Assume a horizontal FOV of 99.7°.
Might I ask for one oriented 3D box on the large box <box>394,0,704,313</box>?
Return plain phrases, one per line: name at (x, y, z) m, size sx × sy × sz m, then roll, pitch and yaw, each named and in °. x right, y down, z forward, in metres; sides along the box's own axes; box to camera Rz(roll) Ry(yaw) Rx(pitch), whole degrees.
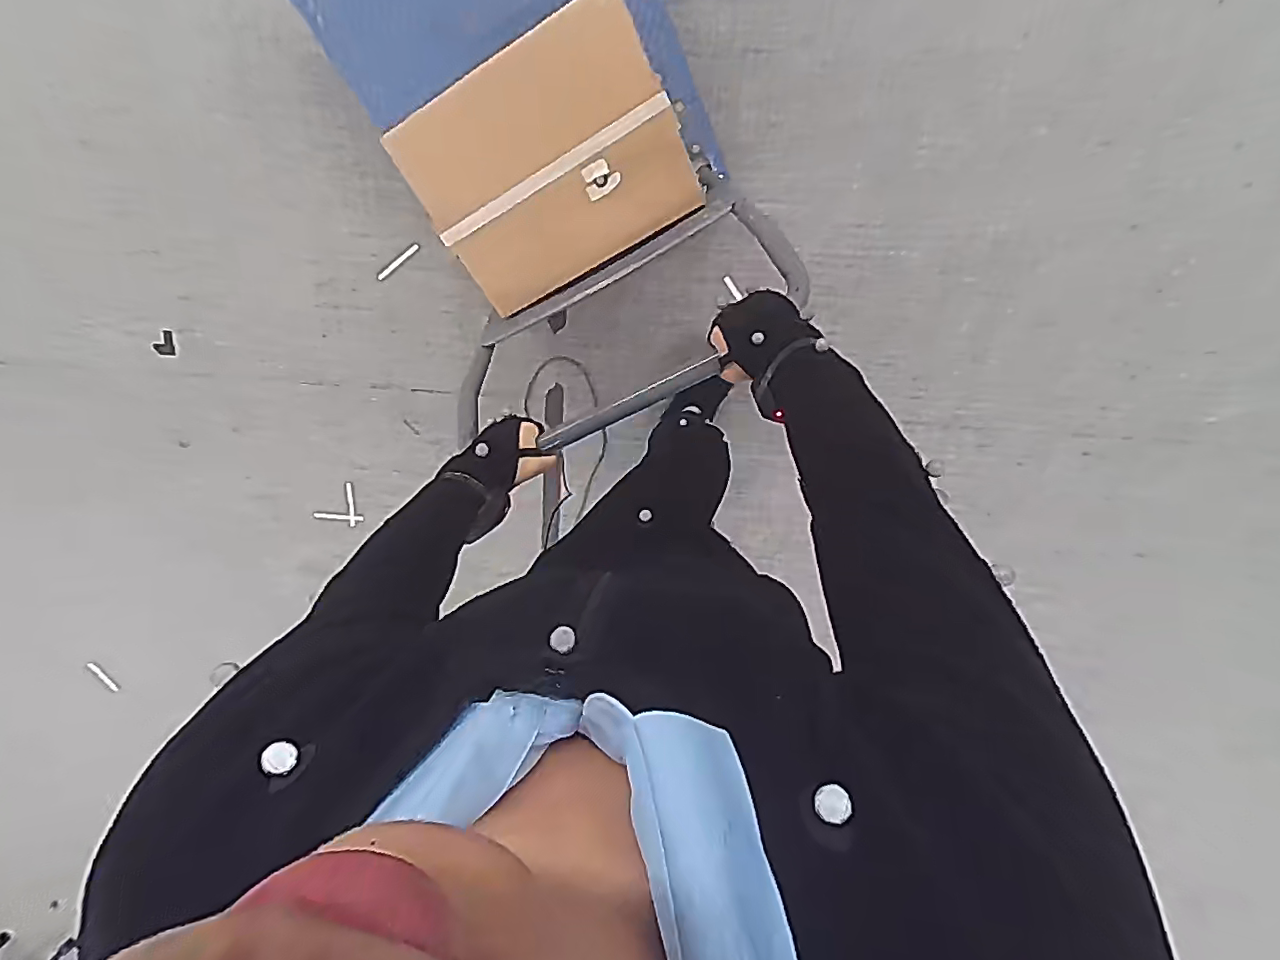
large box at (-0.146, -0.573, 0.981) m, size 0.408 × 0.320 × 0.320 m, roll -26°, pitch 122°, yaw 13°
